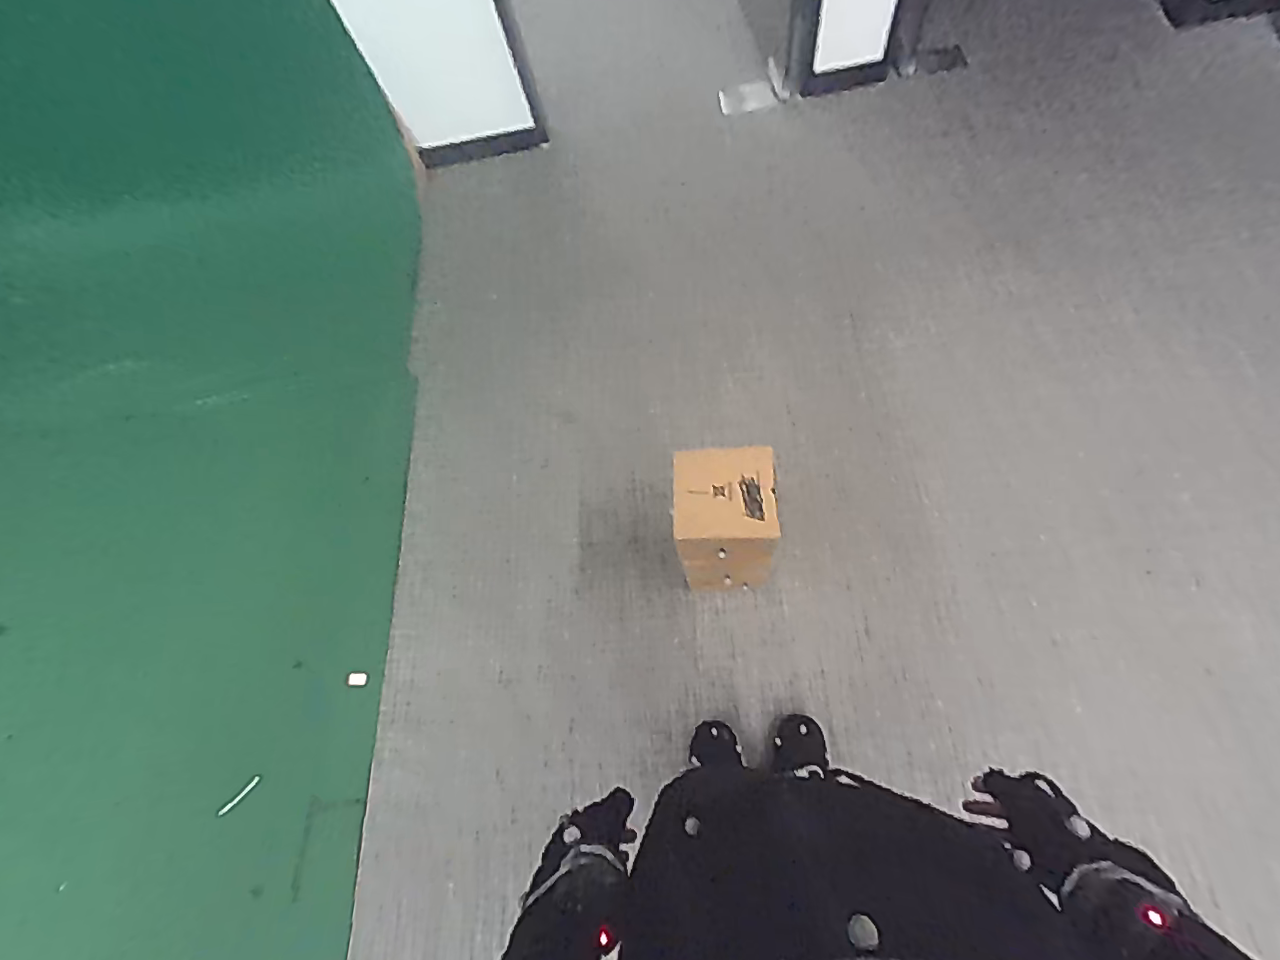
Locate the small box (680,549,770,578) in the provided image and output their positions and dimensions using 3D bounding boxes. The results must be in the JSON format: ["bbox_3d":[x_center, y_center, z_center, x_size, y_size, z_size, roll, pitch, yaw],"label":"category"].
[{"bbox_3d":[0.175,0.111,1.152,0.179,0.176,0.168,-3,68,7],"label":"small box"}]

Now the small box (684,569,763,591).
[{"bbox_3d":[0.195,0.168,1.304,0.179,0.176,0.168,-6,68,8],"label":"small box"}]

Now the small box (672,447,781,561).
[{"bbox_3d":[0.153,0.050,1.000,0.179,0.176,0.168,-5,68,6],"label":"small box"}]
